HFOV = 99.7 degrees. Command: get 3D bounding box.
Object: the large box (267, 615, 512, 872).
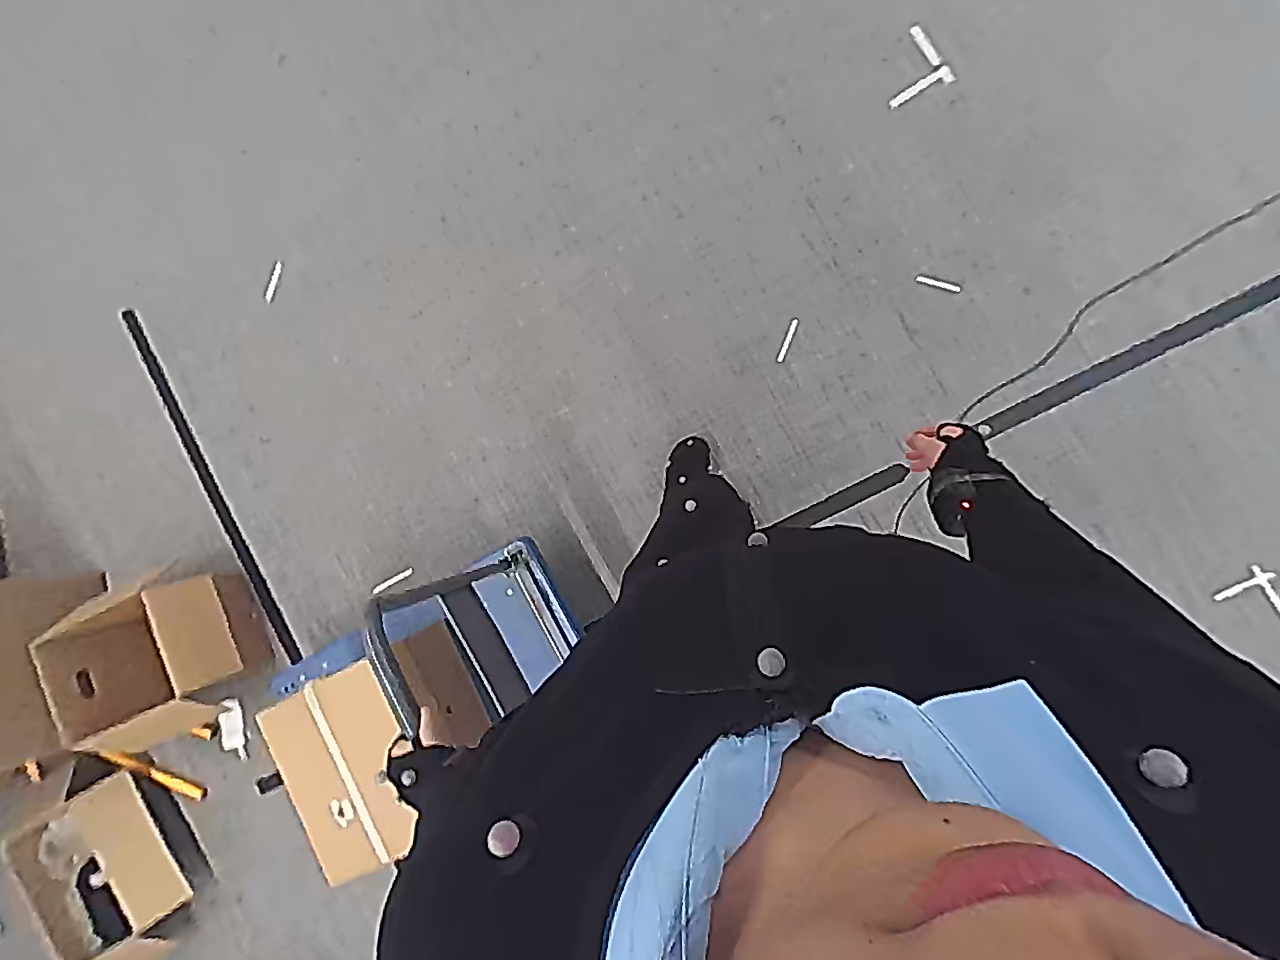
[{"bbox_3d":[-0.576,0.601,1.304,0.320,0.320,0.408,-28,87,9],"label":"large box"}]
